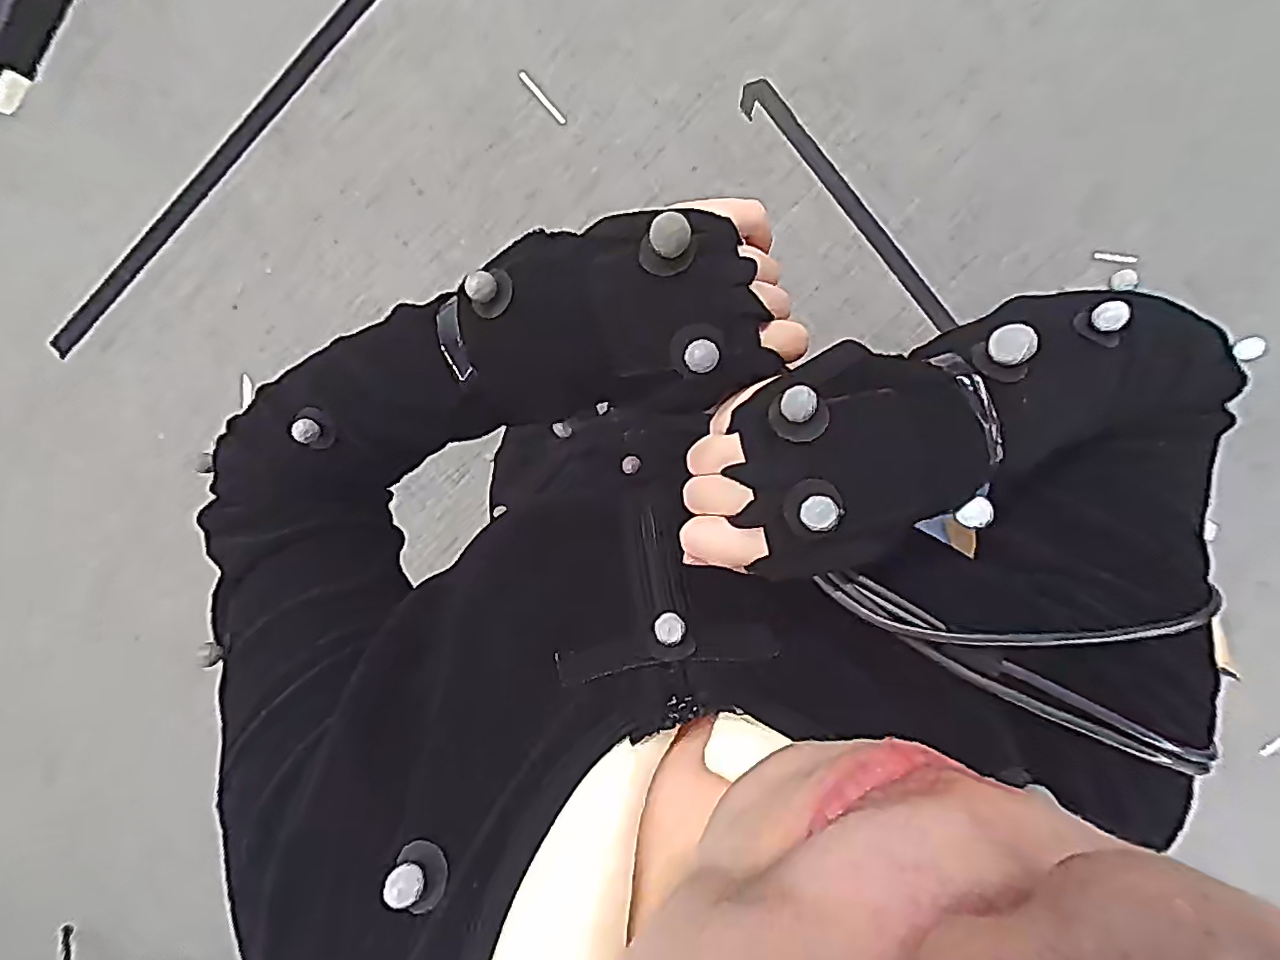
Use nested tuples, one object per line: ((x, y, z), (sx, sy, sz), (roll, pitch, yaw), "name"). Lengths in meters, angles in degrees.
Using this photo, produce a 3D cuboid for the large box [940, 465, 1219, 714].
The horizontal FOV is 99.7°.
((0.967, 0.225, 1.231), (0.320, 0.320, 0.408), (-24, 100, 3), "large box")
